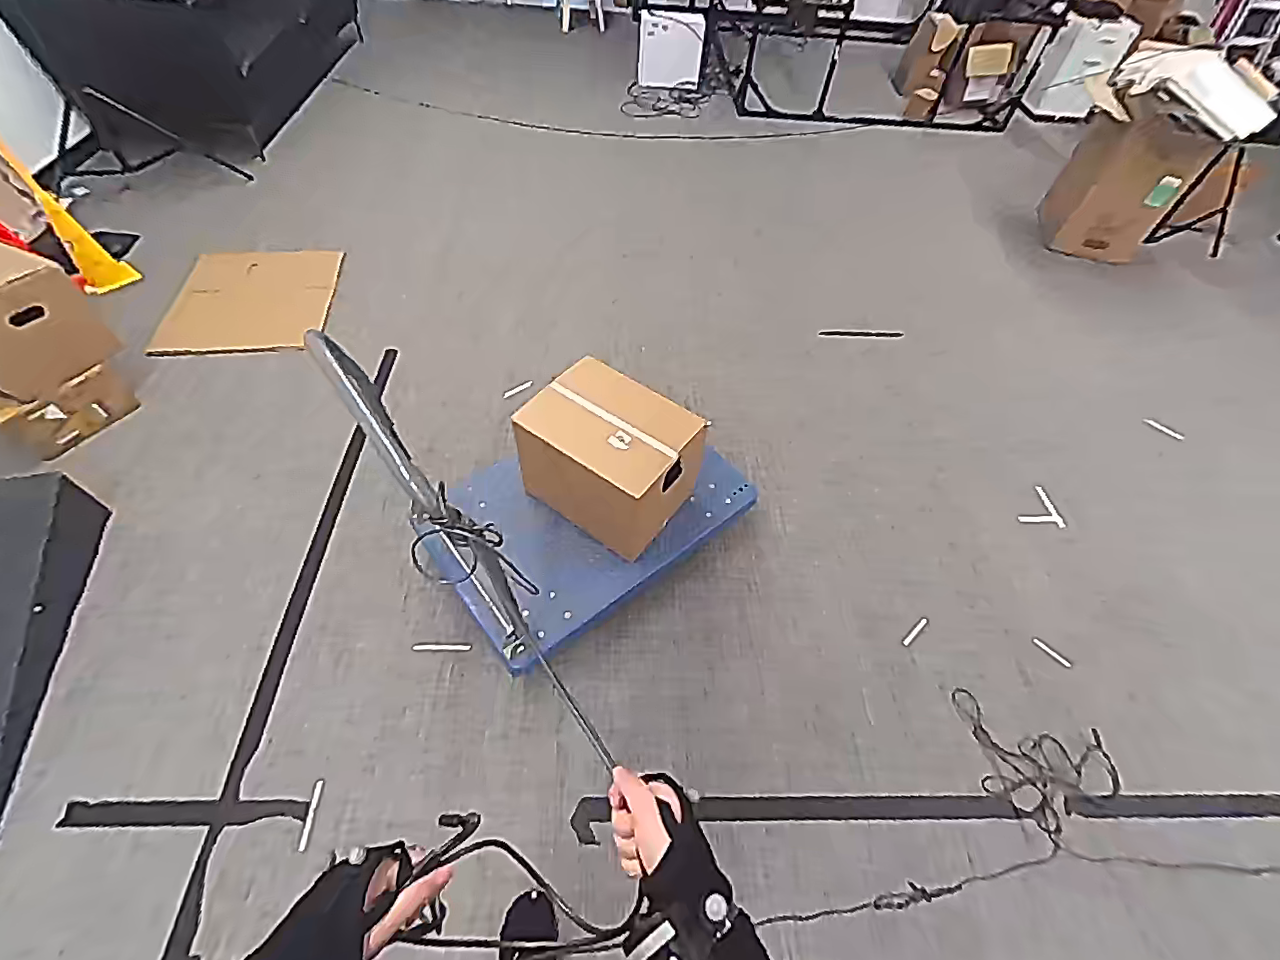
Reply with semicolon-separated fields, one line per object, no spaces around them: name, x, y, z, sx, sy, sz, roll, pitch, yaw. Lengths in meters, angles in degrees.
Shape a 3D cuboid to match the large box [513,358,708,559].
large box;-0.084;-0.060;1.480;0.408;0.320;0.320;32;58;17
